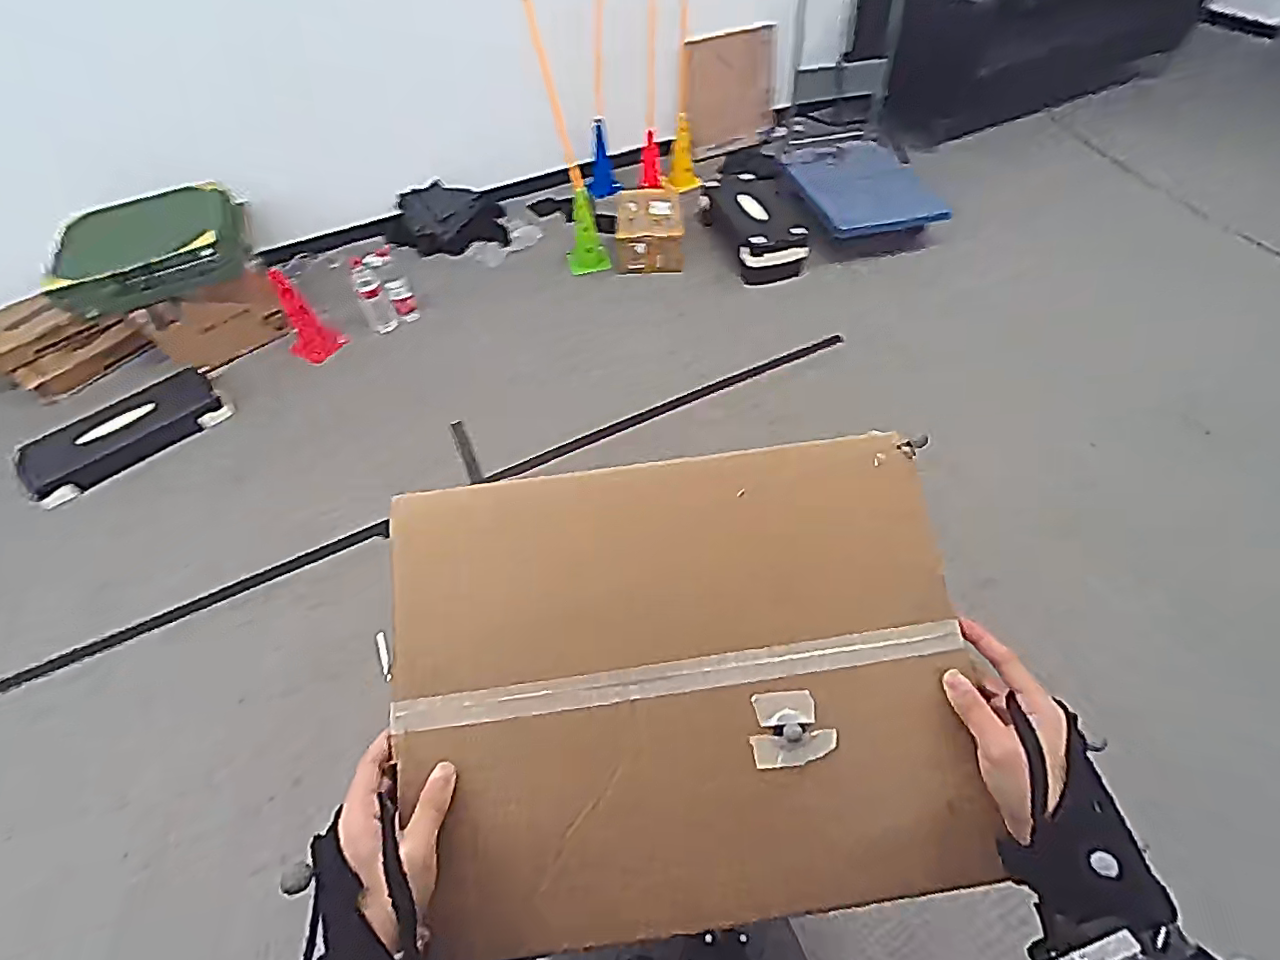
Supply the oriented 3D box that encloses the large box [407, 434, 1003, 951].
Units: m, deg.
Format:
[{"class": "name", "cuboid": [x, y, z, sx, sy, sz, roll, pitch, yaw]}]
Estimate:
[{"class": "large box", "cuboid": [0.031, 0.172, 0.540, 0.408, 0.320, 0.320, -7, 77, -2]}]
